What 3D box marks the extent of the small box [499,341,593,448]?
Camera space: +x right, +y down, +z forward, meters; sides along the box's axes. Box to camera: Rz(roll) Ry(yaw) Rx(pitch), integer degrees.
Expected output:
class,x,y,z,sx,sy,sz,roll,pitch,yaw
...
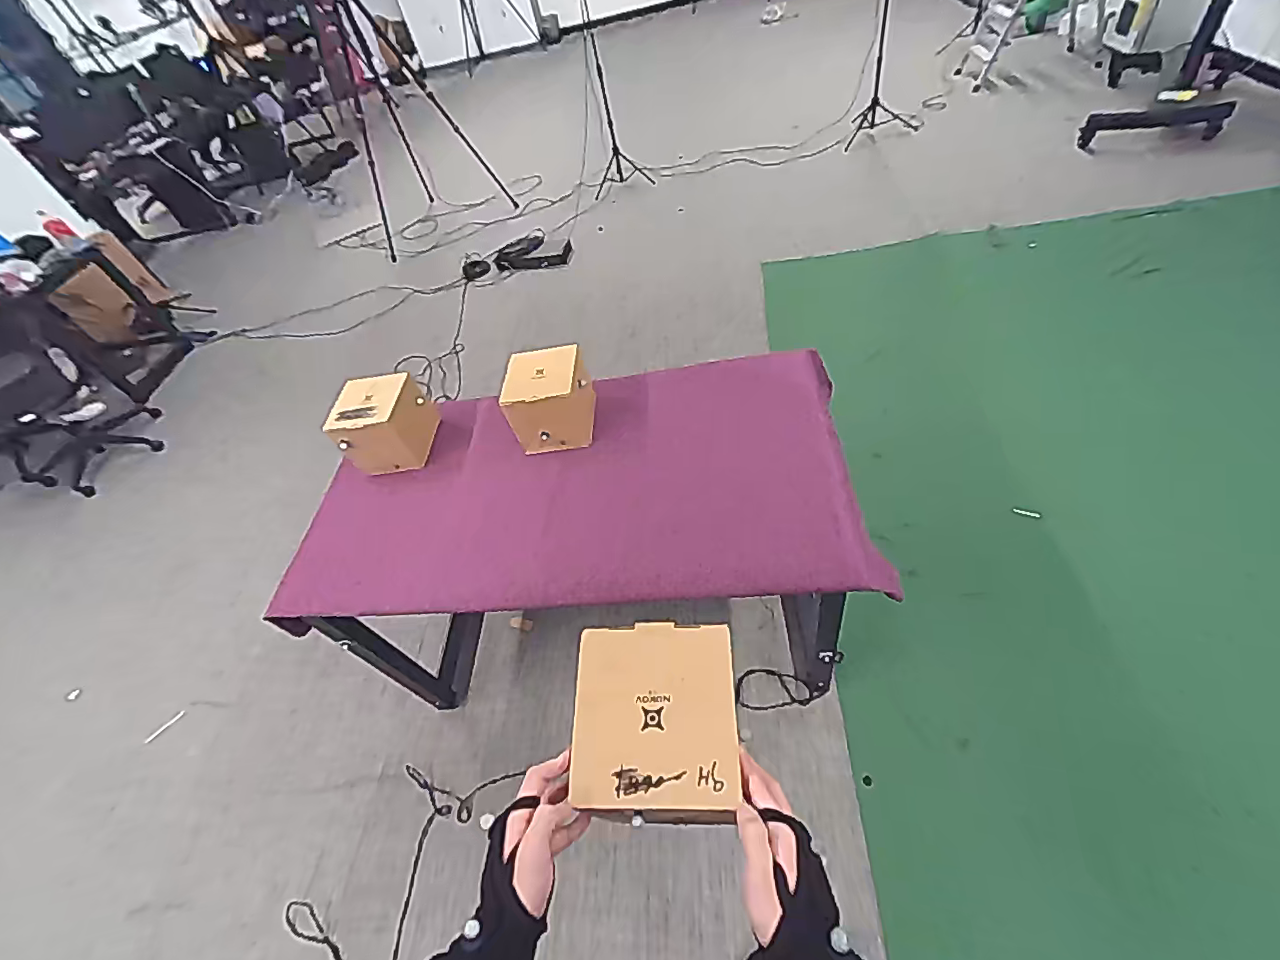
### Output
class,x,y,z,sx,sy,sz,roll,pitch,yaw
small box,-0.210,-0.198,1.267,0.168,0.176,0.179,-6,51,8

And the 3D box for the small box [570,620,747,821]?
class,x,y,z,sx,sy,sz,roll,pitch,yaw
small box,0.028,0.271,0.606,0.168,0.176,0.179,-3,55,8
